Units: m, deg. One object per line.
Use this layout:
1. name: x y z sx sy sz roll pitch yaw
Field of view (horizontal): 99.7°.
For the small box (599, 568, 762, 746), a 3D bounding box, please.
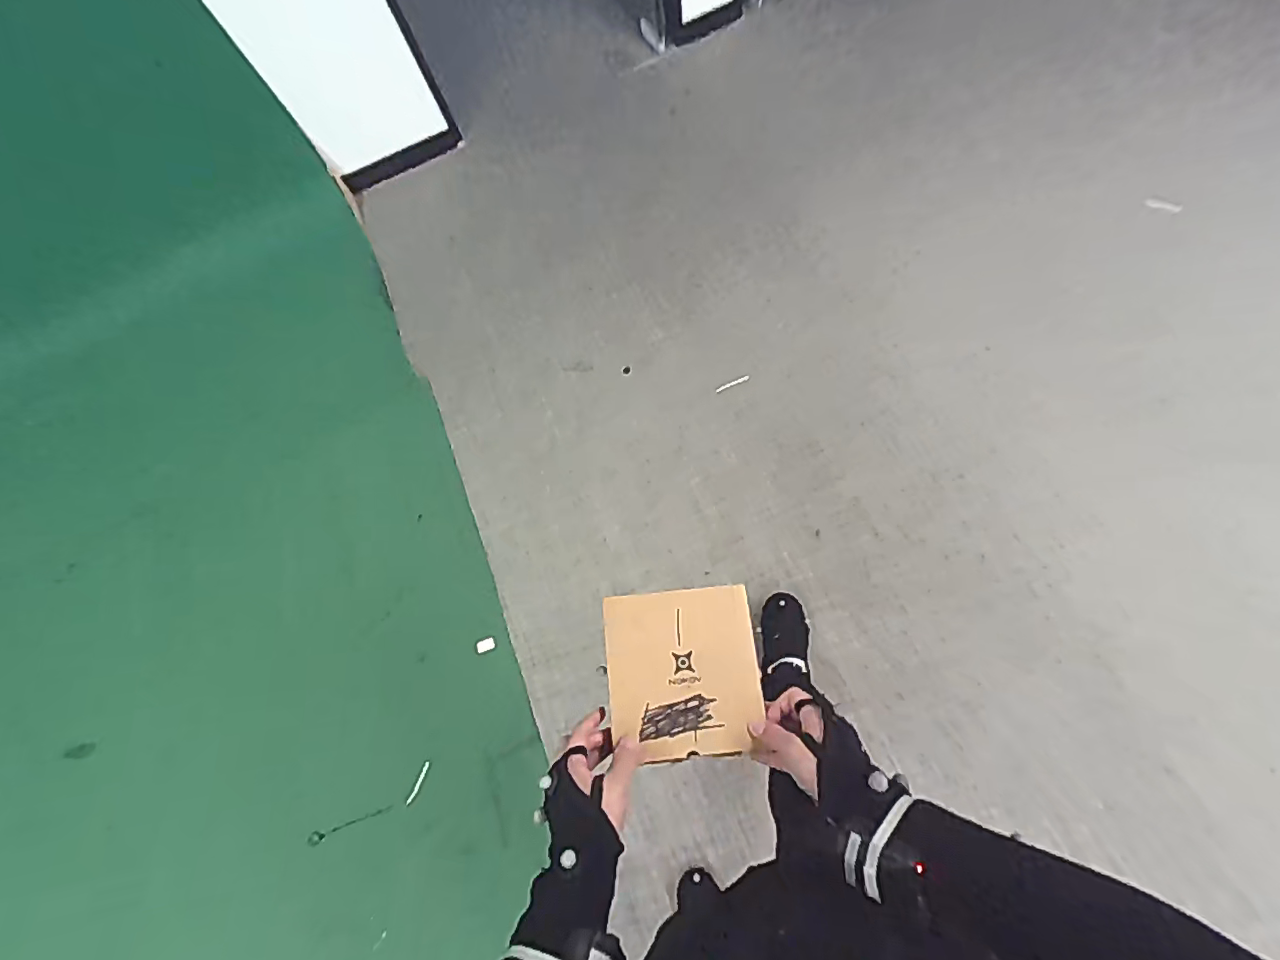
1. small box: 0.041 0.214 0.665 0.168 0.176 0.179 -5 71 -3
